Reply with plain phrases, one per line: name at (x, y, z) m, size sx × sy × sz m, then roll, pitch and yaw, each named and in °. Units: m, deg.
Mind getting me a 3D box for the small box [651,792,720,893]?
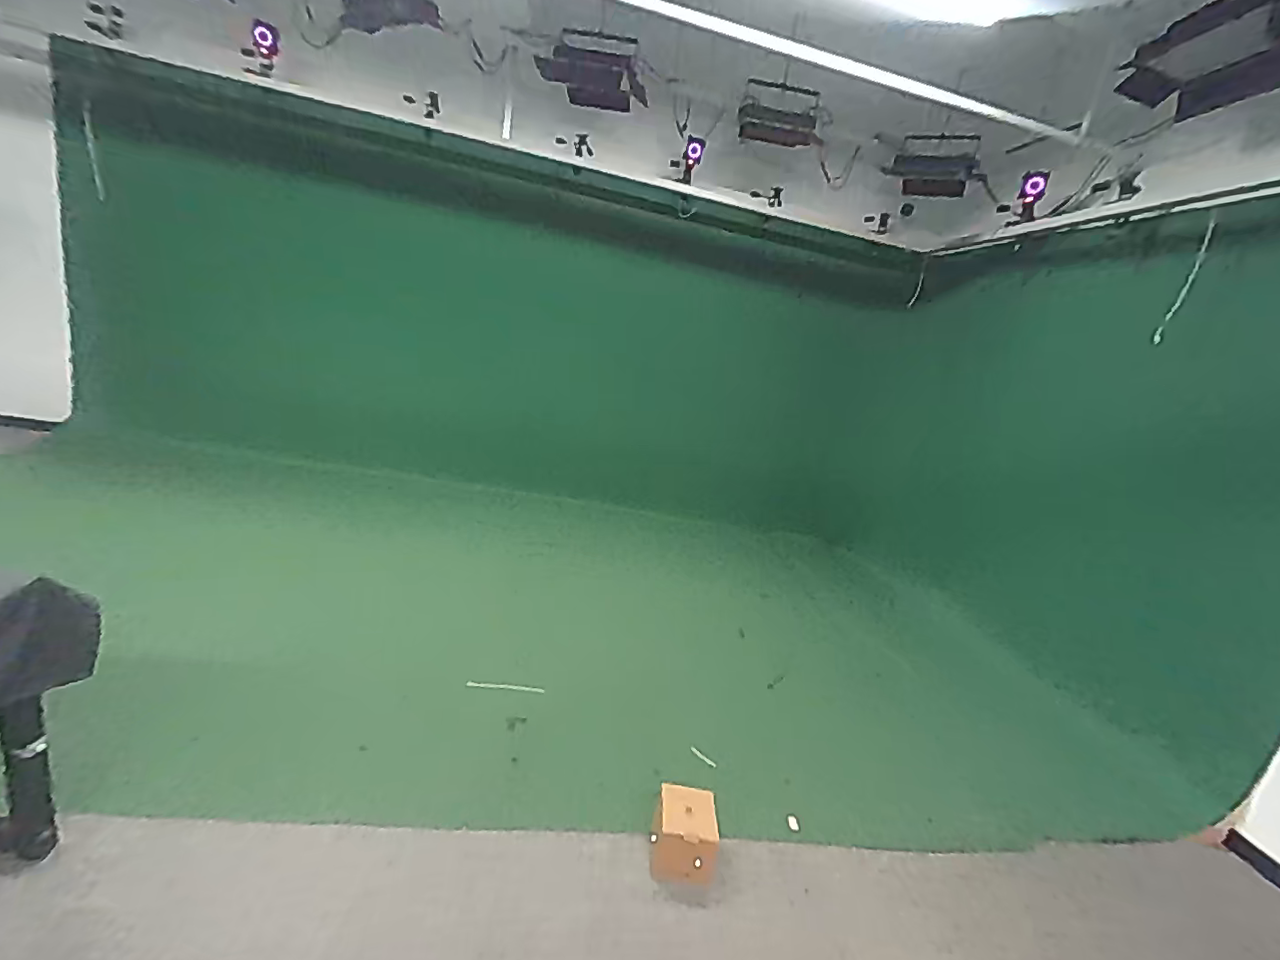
small box at (0.130, 1.073, 1.602) m, size 0.168 × 0.176 × 0.179 m, roll 12°, pitch 13°, yaw -2°
